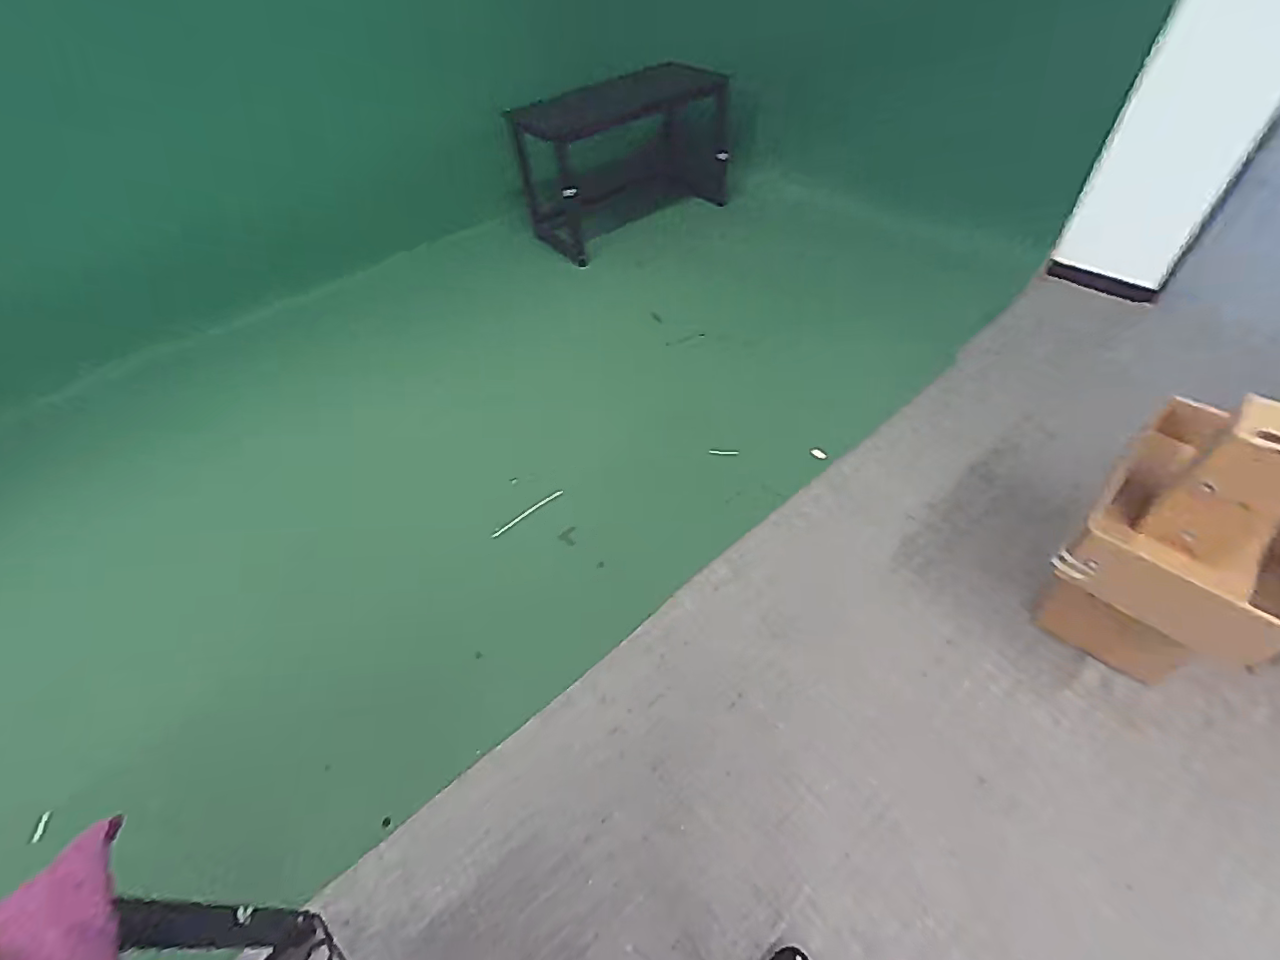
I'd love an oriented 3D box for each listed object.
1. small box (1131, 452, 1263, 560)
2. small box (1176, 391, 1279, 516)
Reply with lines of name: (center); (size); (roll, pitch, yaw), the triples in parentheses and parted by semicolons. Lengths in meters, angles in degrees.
small box: (1.329, 0.054, 1.285); (0.179, 0.176, 0.168); (-37, 55, -25)
small box: (1.317, -0.055, 1.164); (0.168, 0.176, 0.179); (34, 58, 30)
